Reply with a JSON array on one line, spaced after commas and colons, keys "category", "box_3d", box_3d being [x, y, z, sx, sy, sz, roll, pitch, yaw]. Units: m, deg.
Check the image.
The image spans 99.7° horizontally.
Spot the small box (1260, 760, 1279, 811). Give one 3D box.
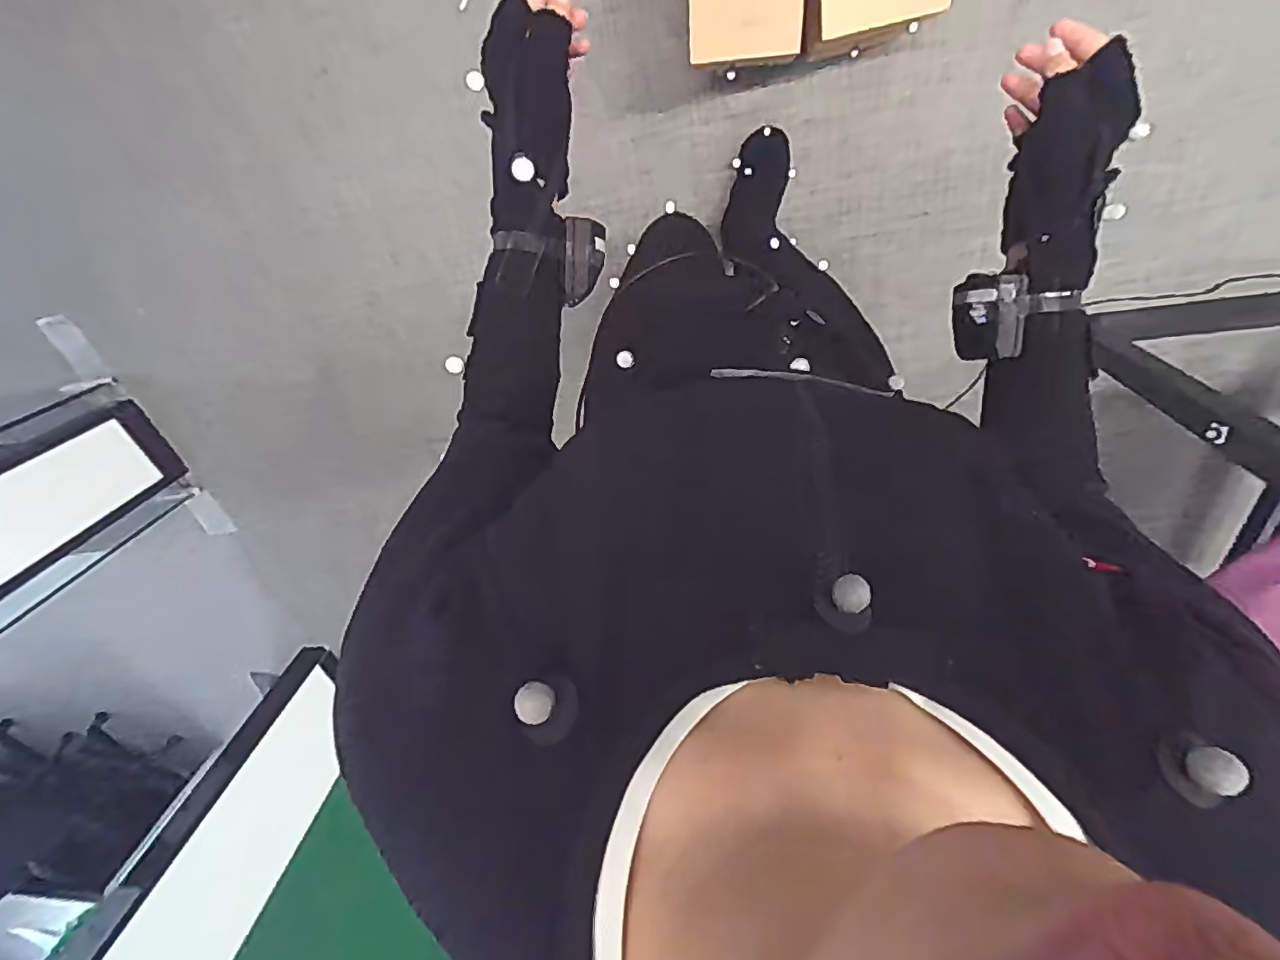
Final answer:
[{"category": "small box", "box_3d": [1.172, 0.522, 0.854, 0.179, 0.176, 0.168, -4, 123, 11]}]
